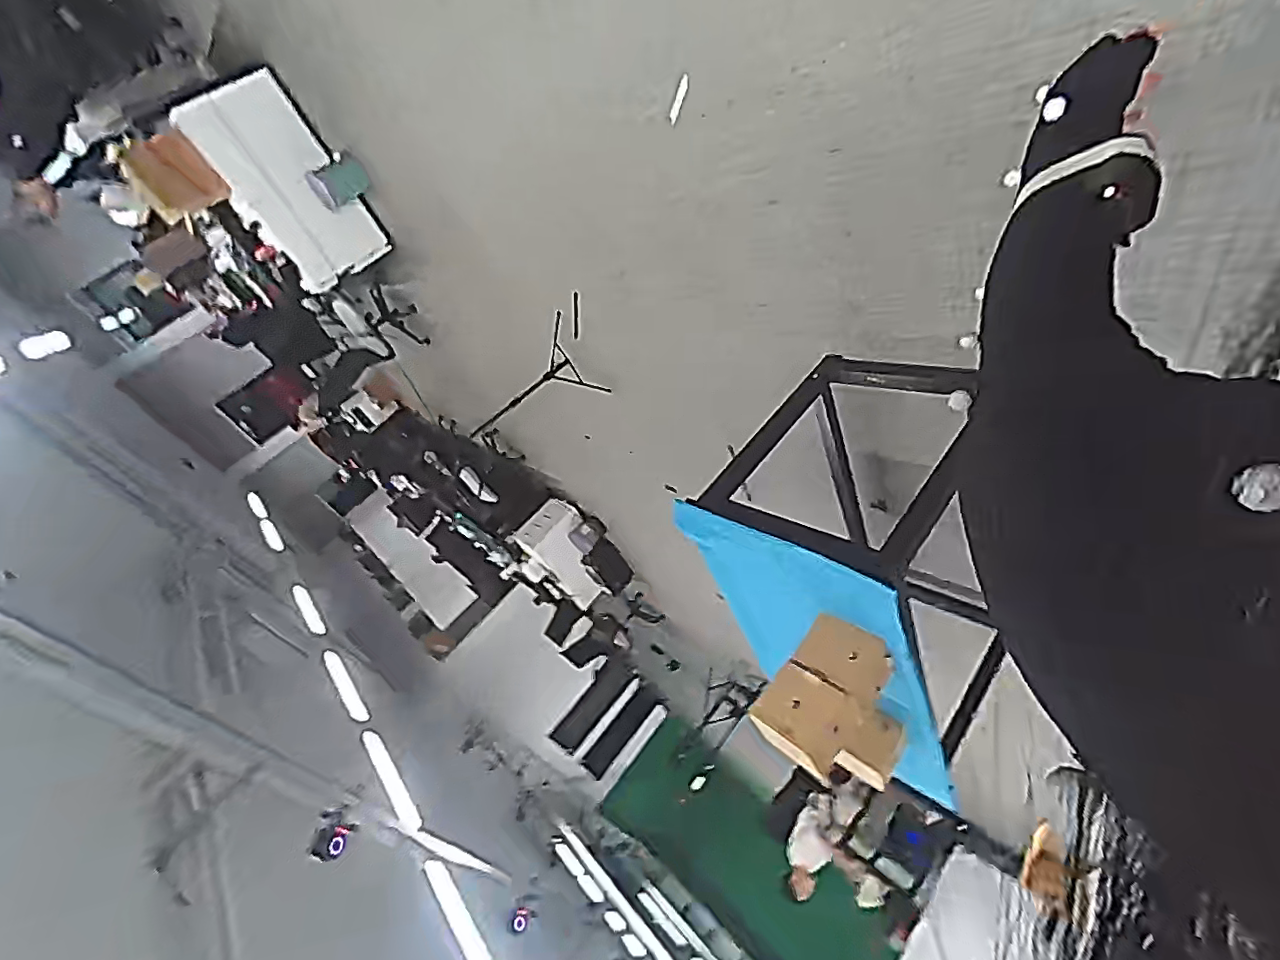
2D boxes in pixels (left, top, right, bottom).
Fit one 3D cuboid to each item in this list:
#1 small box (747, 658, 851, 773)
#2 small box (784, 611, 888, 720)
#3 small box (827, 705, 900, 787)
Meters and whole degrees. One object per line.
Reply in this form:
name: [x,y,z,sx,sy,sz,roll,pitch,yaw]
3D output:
small box: [0.389,0.581,1.330,0.168,0.176,0.179,23,153,46]
small box: [0.502,0.477,1.388,0.179,0.176,0.168,20,148,47]
small box: [0.679,0.808,1.672,0.179,0.176,0.168,23,149,42]
